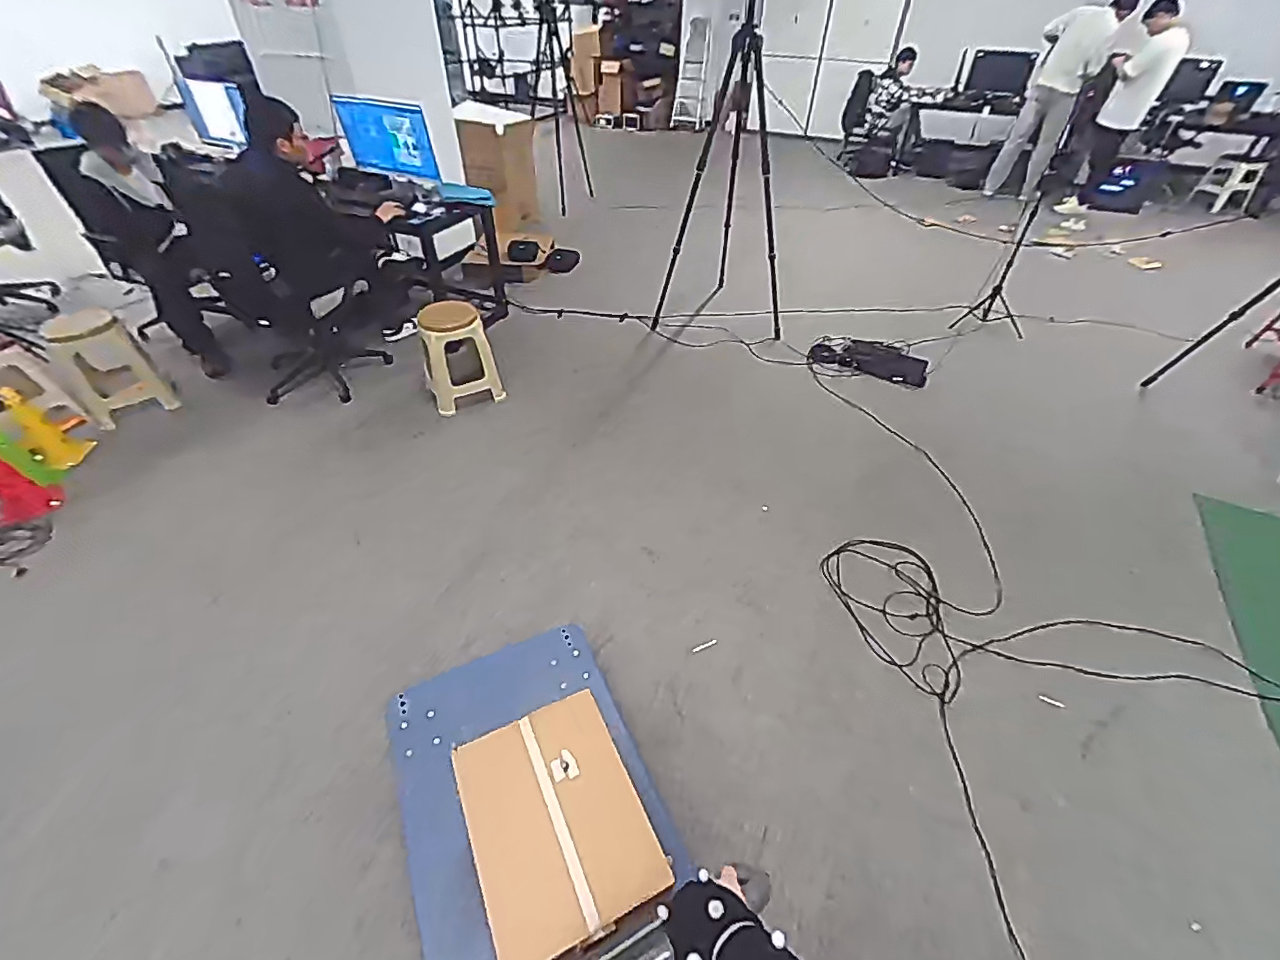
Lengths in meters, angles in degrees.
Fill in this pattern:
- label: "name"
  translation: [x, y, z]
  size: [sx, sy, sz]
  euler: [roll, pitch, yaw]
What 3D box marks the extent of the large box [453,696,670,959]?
- label: "large box"
  translation: [-0.166, 0.763, 1.145]
  size: [0.320, 0.320, 0.408]
  euler: [-17, 44, -20]
